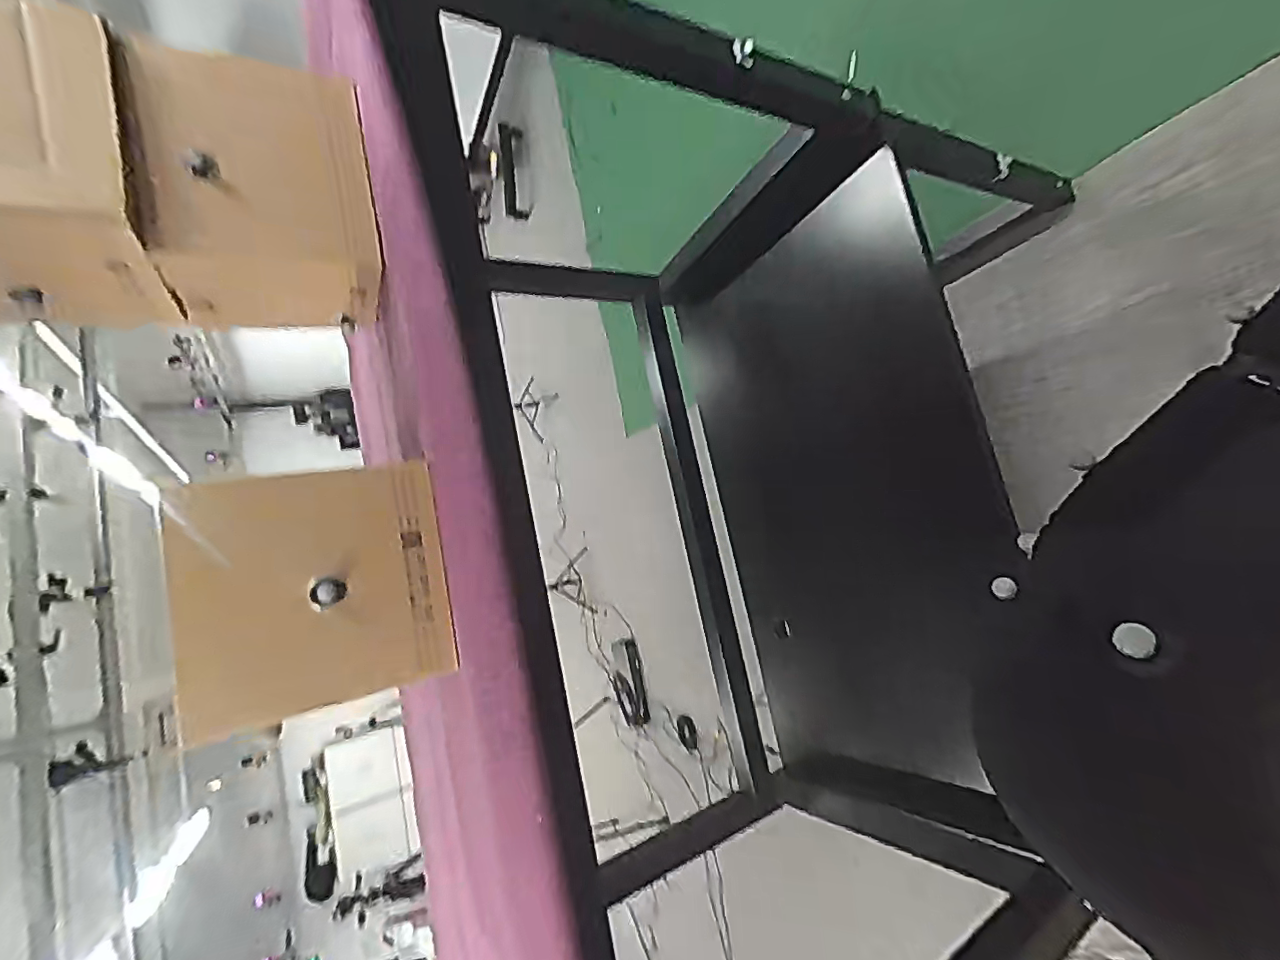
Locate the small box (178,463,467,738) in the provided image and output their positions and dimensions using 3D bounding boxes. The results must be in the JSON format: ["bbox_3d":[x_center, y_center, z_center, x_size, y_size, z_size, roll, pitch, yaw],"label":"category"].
[{"bbox_3d":[-0.251,0.086,0.452,0.179,0.176,0.168,-20,79,59],"label":"small box"}]

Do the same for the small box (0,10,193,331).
[{"bbox_3d":[-0.478,-0.234,0.428,0.168,0.176,0.179,-22,79,60],"label":"small box"}]

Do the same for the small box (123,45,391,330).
[{"bbox_3d":[-0.346,-0.257,0.521,0.168,0.176,0.179,-14,86,61],"label":"small box"}]
